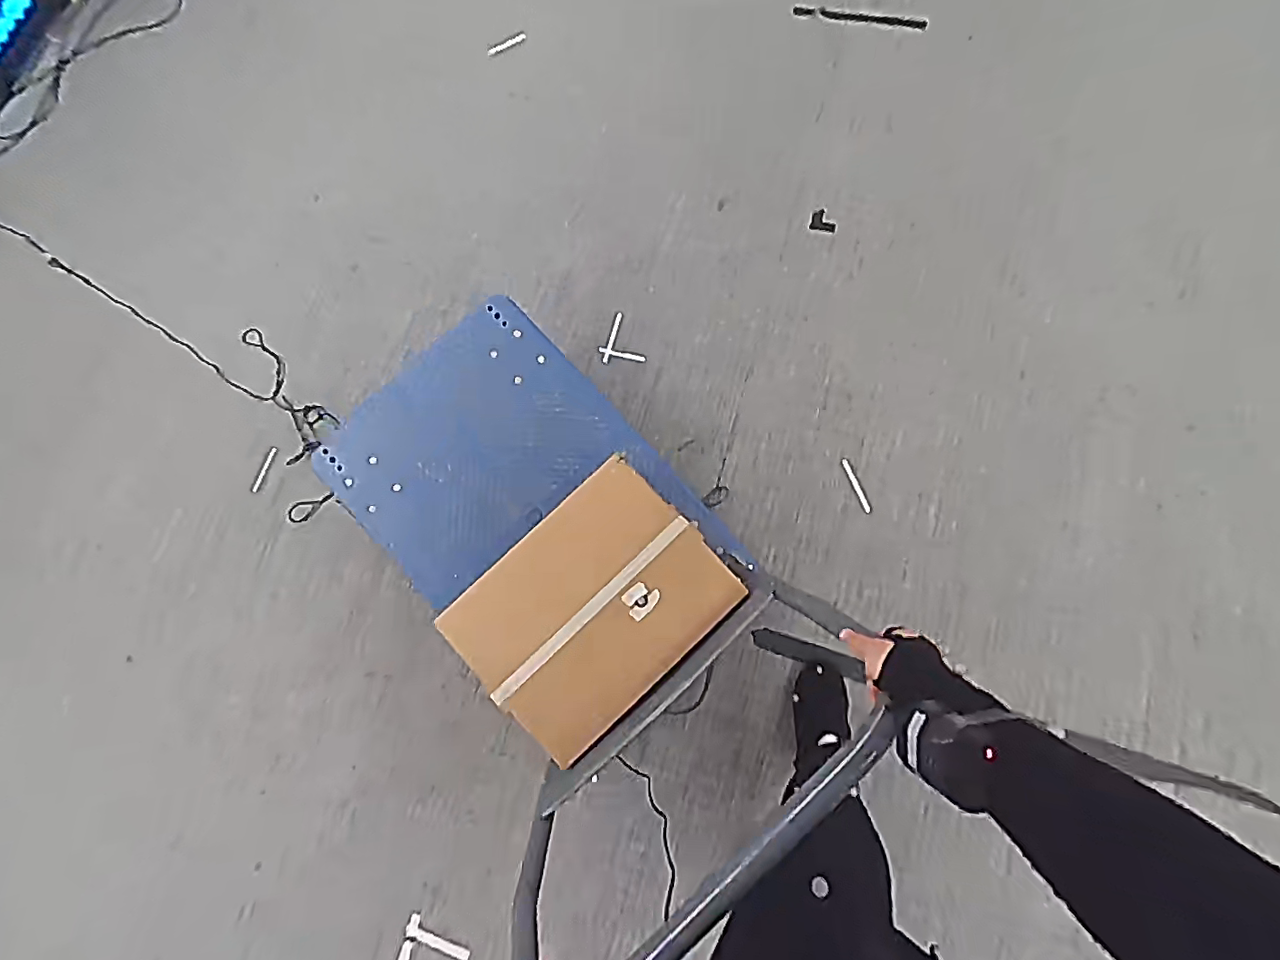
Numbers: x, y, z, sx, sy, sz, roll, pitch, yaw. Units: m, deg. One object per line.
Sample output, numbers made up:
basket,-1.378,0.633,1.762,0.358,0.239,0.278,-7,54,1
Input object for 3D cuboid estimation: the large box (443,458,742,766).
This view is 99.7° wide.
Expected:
large box,-0.077,0.224,1.020,0.408,0.320,0.320,-44,87,-5
